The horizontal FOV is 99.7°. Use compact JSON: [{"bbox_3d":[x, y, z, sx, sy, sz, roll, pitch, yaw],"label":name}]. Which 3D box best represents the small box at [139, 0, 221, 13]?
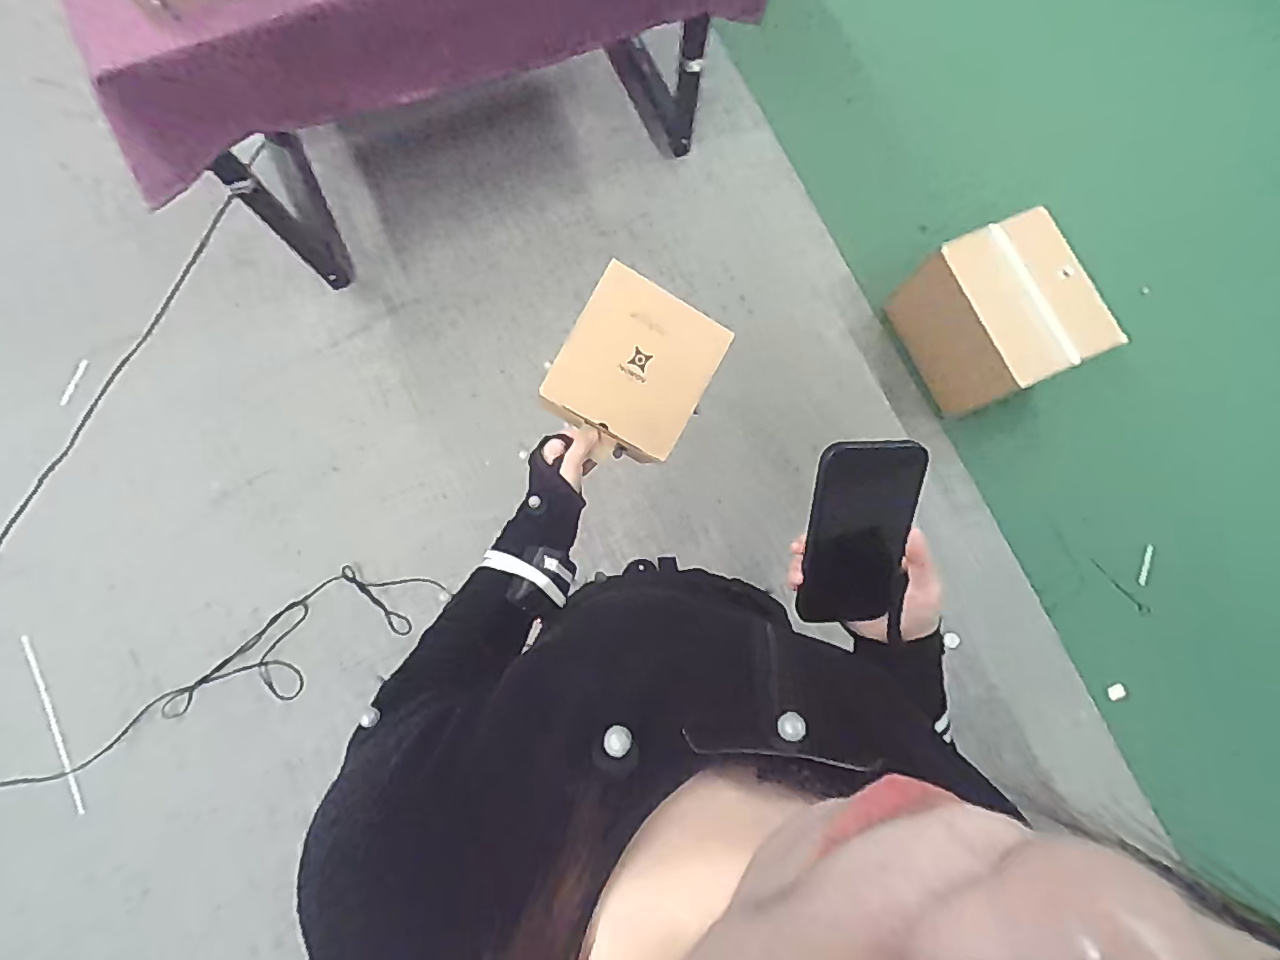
[{"bbox_3d":[-0.767,-0.881,0.842,0.168,0.176,0.179,-25,81,-6],"label":"small box"}]

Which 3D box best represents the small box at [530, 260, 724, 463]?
[{"bbox_3d":[-0.023,-0.135,0.687,0.168,0.176,0.179,29,88,-9],"label":"small box"}]
